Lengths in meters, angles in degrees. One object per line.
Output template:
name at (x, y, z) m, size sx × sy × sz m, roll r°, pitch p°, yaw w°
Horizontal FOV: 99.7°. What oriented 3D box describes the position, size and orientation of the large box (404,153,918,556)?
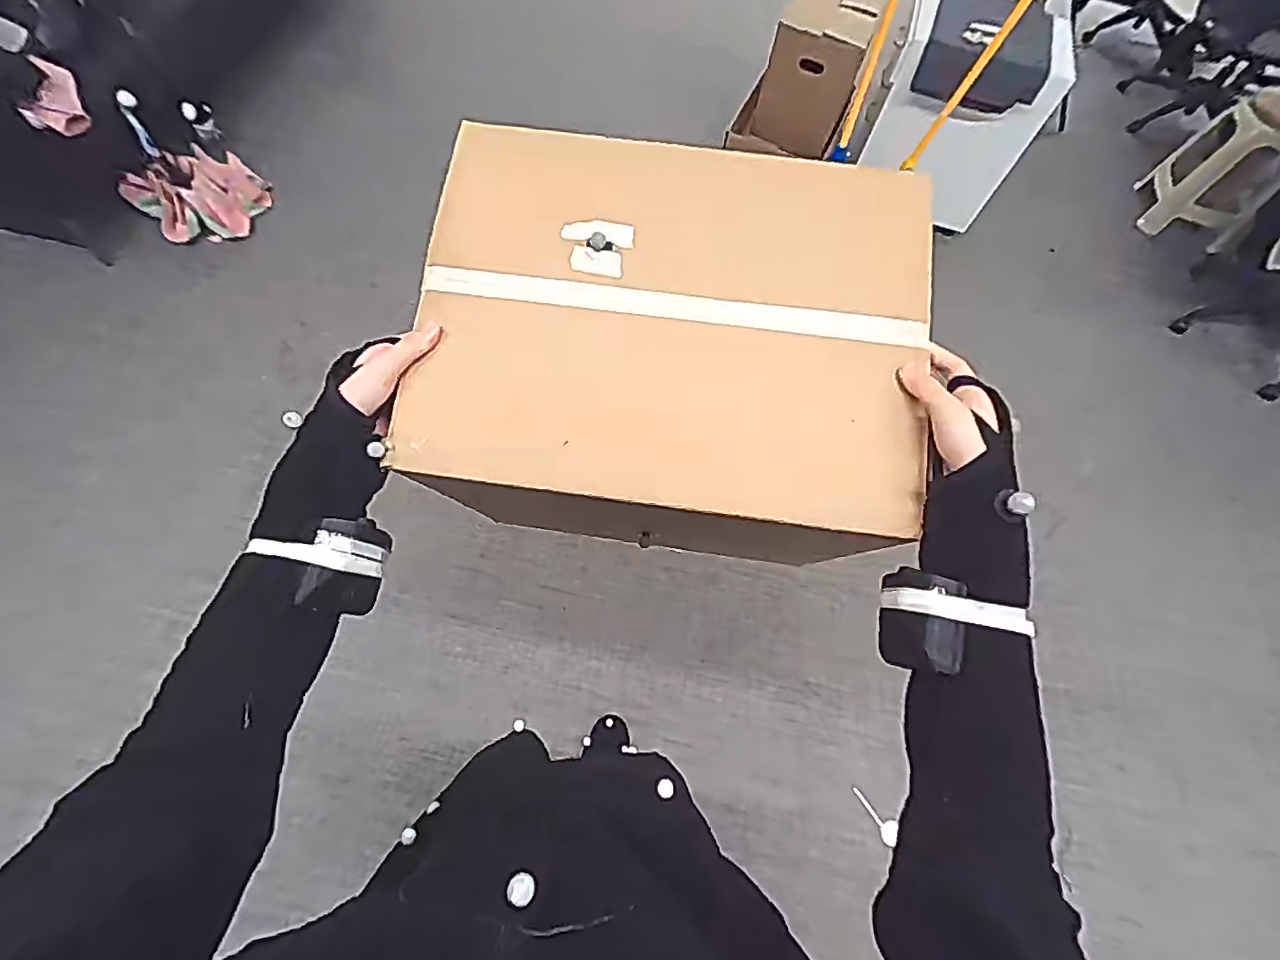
large box at (0.031, -0.096, 0.593) m, size 0.408 × 0.320 × 0.320 m, roll 7°, pitch 78°, yaw 3°
